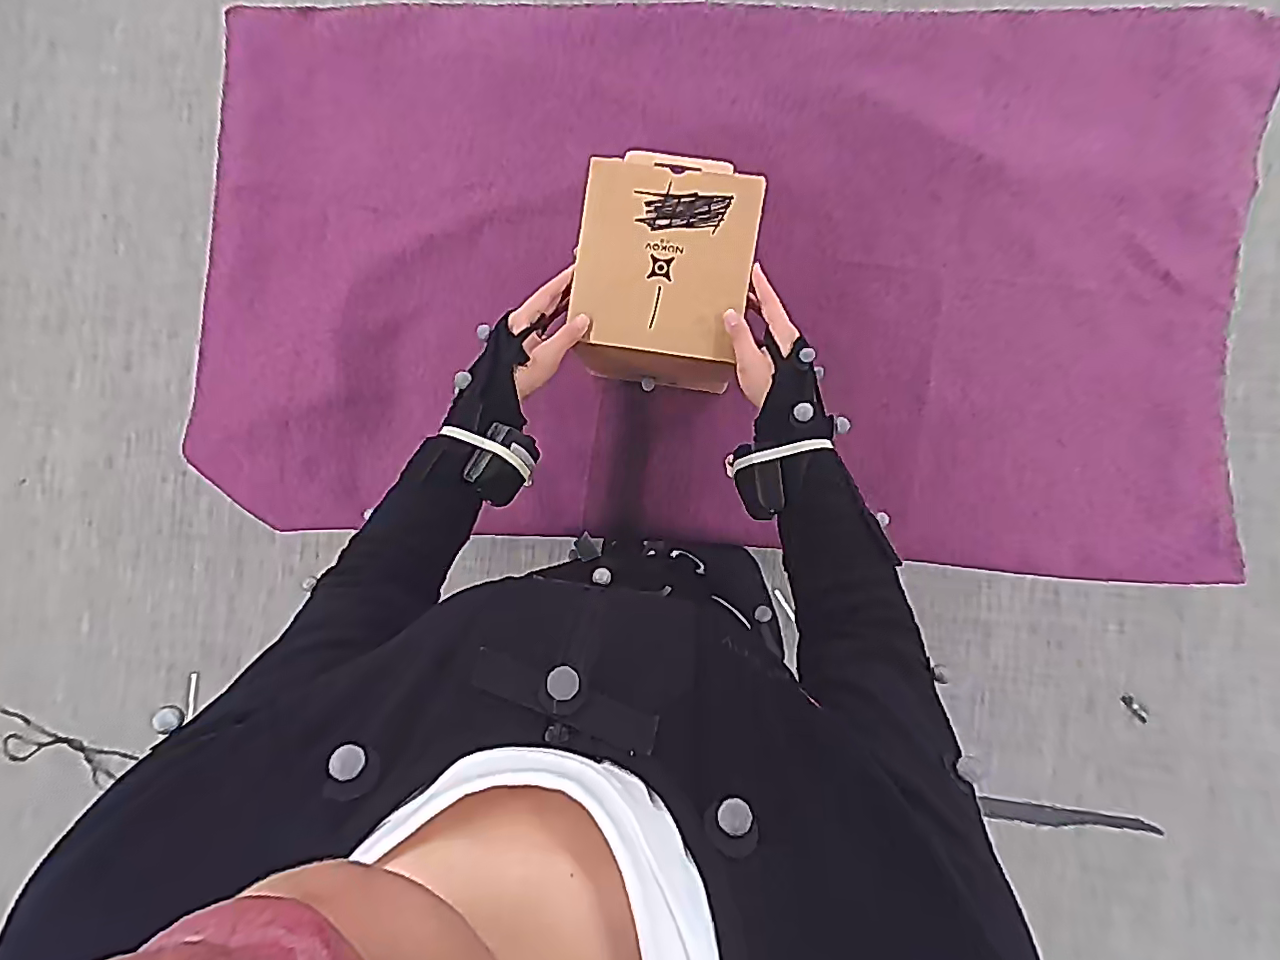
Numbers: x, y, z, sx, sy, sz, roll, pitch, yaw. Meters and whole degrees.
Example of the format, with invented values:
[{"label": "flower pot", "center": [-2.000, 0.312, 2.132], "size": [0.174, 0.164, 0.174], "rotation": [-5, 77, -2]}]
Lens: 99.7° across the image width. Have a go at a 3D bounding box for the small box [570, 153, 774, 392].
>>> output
[{"label": "small box", "center": [0.033, -0.204, 0.573], "size": [0.168, 0.176, 0.179], "rotation": [9, 90, 4]}]
